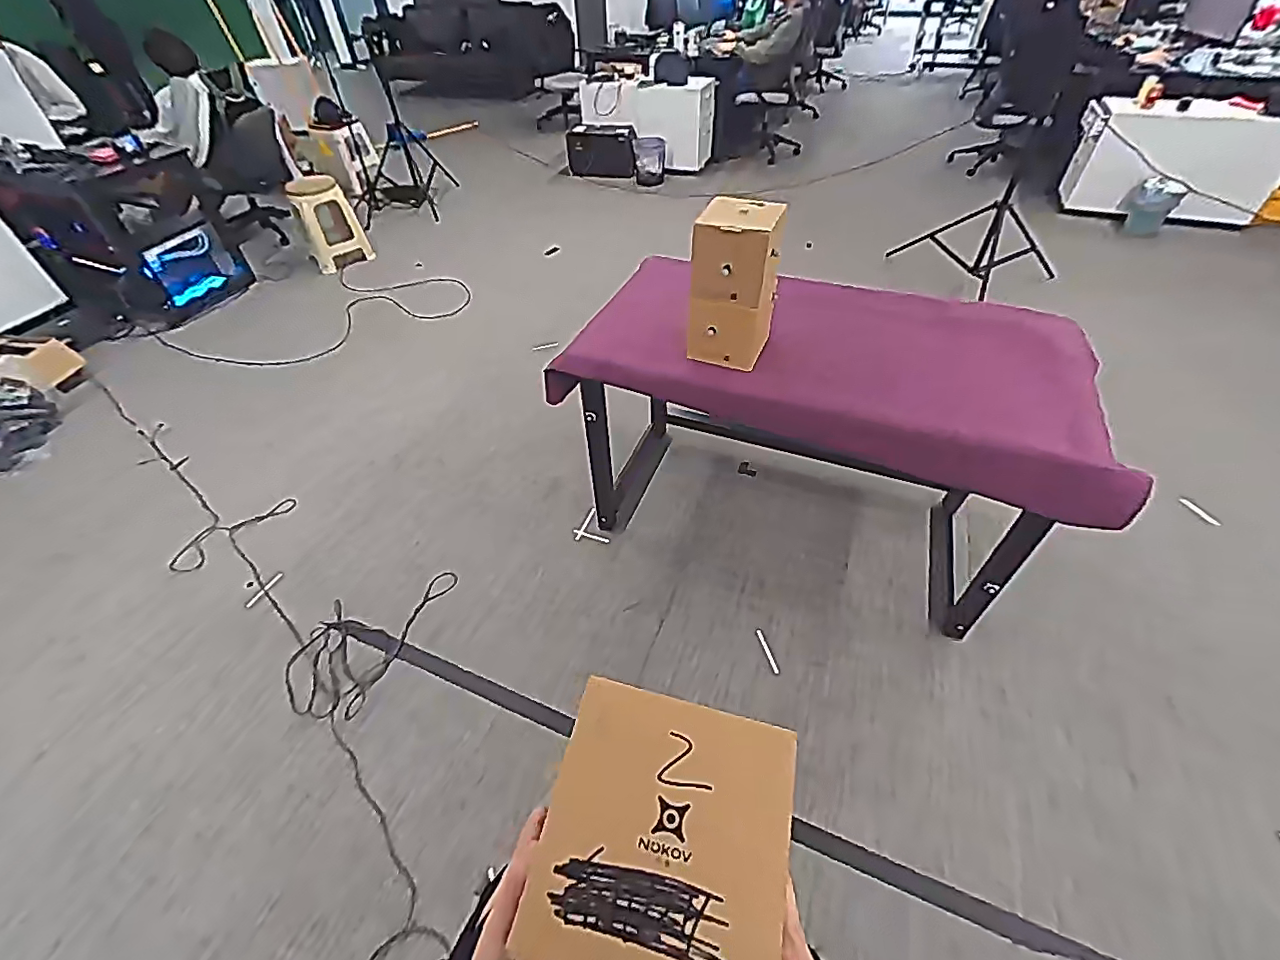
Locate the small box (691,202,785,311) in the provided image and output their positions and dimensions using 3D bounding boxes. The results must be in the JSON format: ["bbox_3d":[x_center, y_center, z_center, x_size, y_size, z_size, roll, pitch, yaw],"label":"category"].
[{"bbox_3d":[0.218,-0.504,1.225,0.168,0.176,0.179,16,48,16],"label":"small box"}]

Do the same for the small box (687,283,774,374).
[{"bbox_3d":[0.222,-0.386,1.338,0.168,0.176,0.179,16,48,17],"label":"small box"}]
